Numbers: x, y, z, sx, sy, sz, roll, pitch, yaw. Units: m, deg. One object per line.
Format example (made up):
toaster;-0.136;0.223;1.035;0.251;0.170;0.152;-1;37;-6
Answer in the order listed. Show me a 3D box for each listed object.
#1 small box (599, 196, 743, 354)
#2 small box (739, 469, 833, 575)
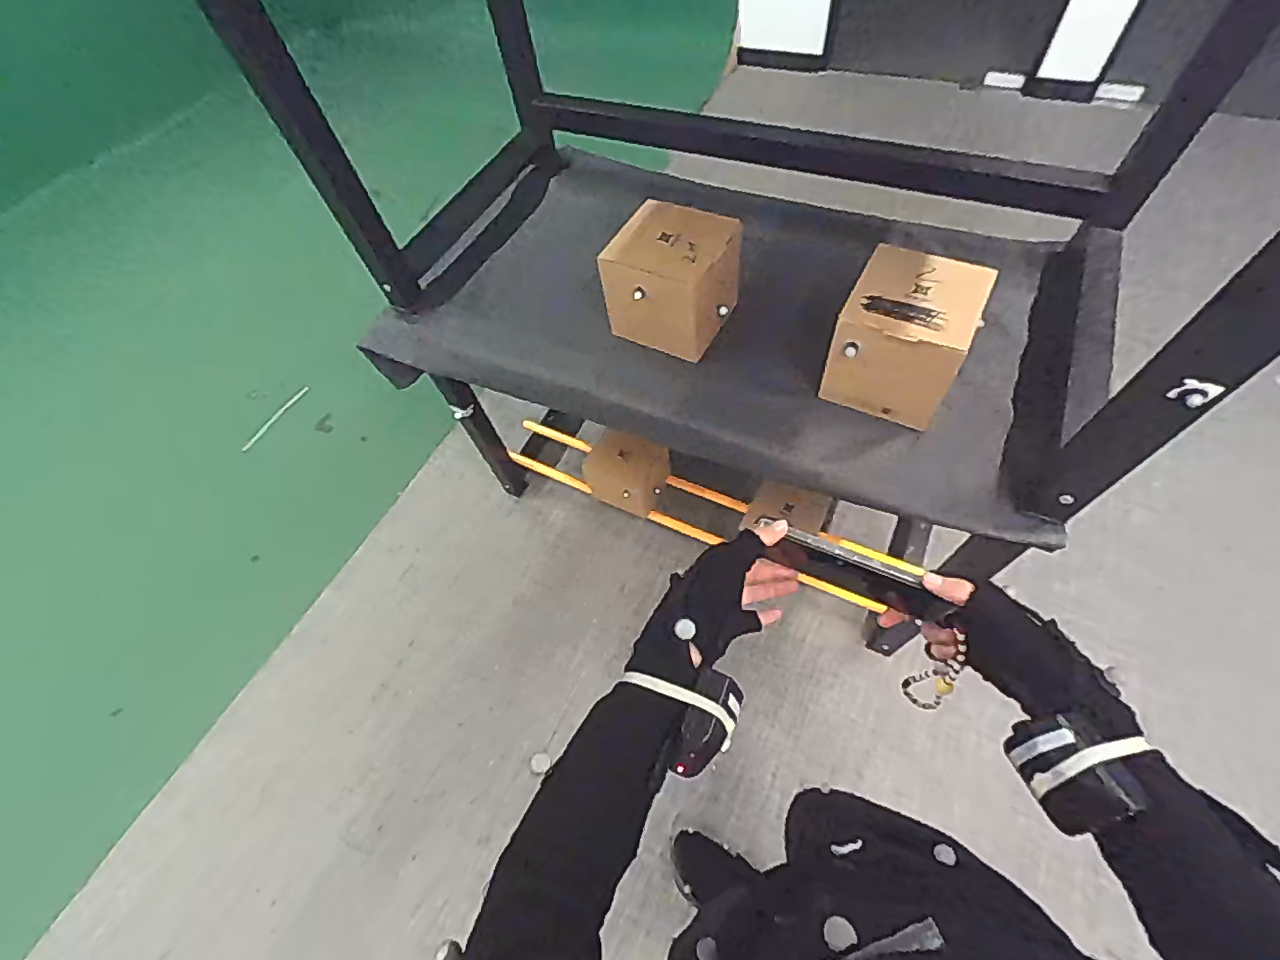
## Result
small box;0.057;-0.341;0.914;0.179;0.176;0.168;24;66;20
small box;0.355;0.109;1.339;0.168;0.176;0.179;25;66;20
